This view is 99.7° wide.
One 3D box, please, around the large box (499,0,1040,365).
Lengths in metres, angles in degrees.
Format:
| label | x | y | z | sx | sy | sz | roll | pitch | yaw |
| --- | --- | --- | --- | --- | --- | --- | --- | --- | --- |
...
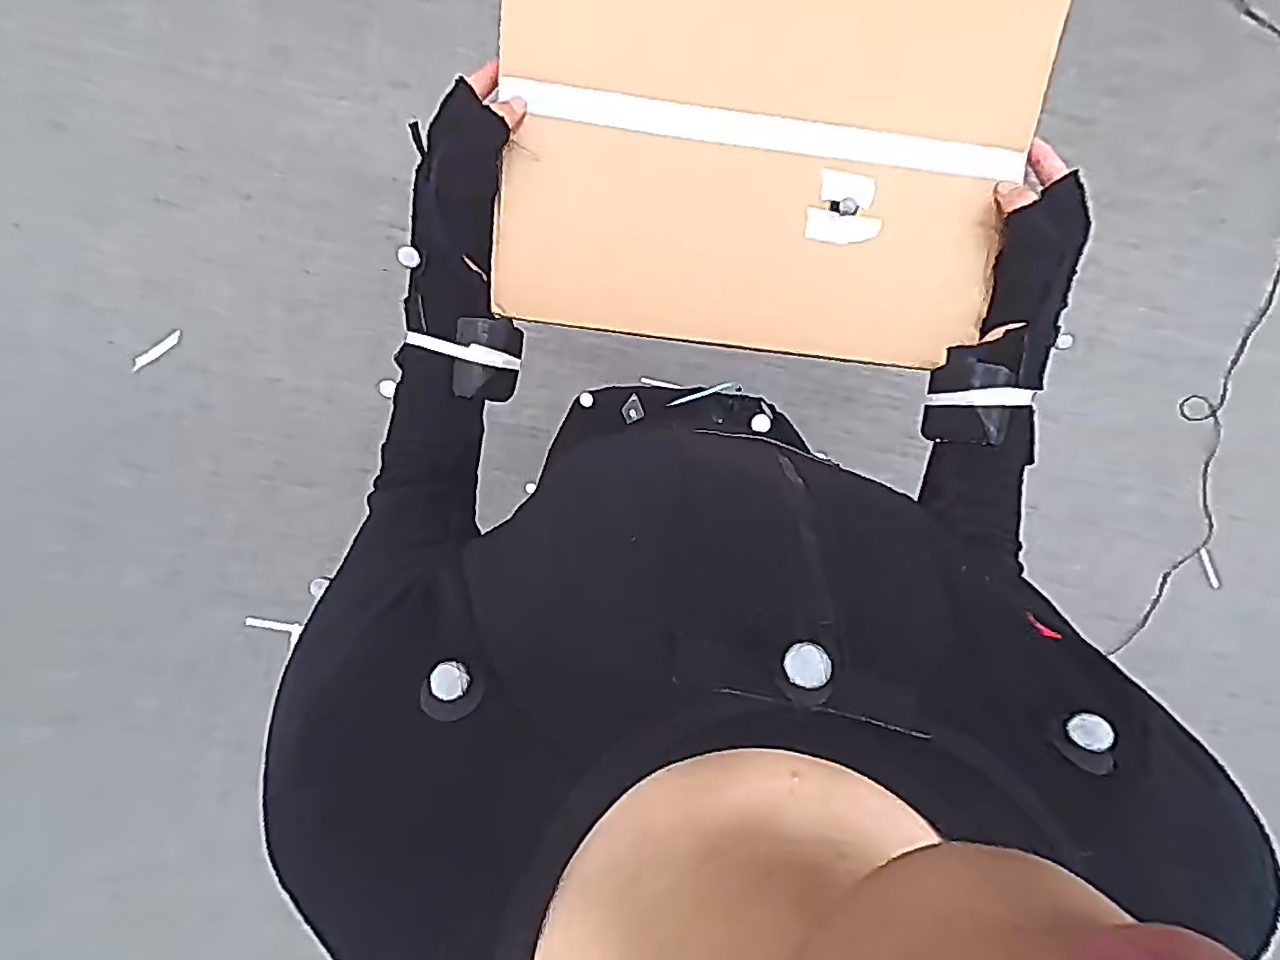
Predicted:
| label | x | y | z | sx | sy | sz | roll | pitch | yaw |
| --- | --- | --- | --- | --- | --- | --- | --- | --- | --- |
| large box | 0.084 | -0.303 | 0.567 | 0.408 | 0.320 | 0.320 | 5 | 107 | -5 |
